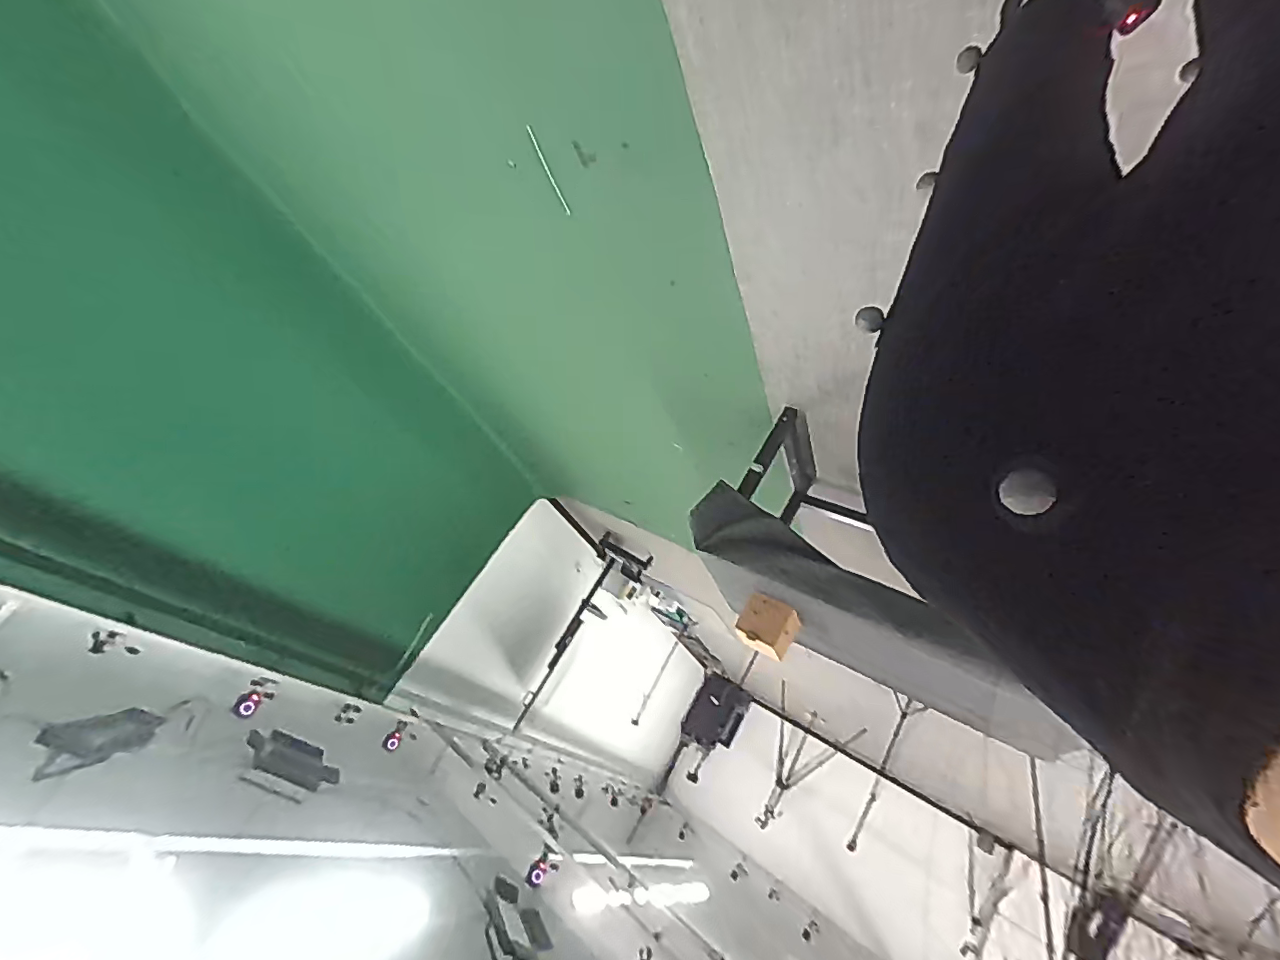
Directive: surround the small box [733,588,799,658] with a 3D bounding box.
[{"bbox_3d":[0.471,0.527,2.009,0.168,0.176,0.179,21,159,36],"label":"small box"}]
